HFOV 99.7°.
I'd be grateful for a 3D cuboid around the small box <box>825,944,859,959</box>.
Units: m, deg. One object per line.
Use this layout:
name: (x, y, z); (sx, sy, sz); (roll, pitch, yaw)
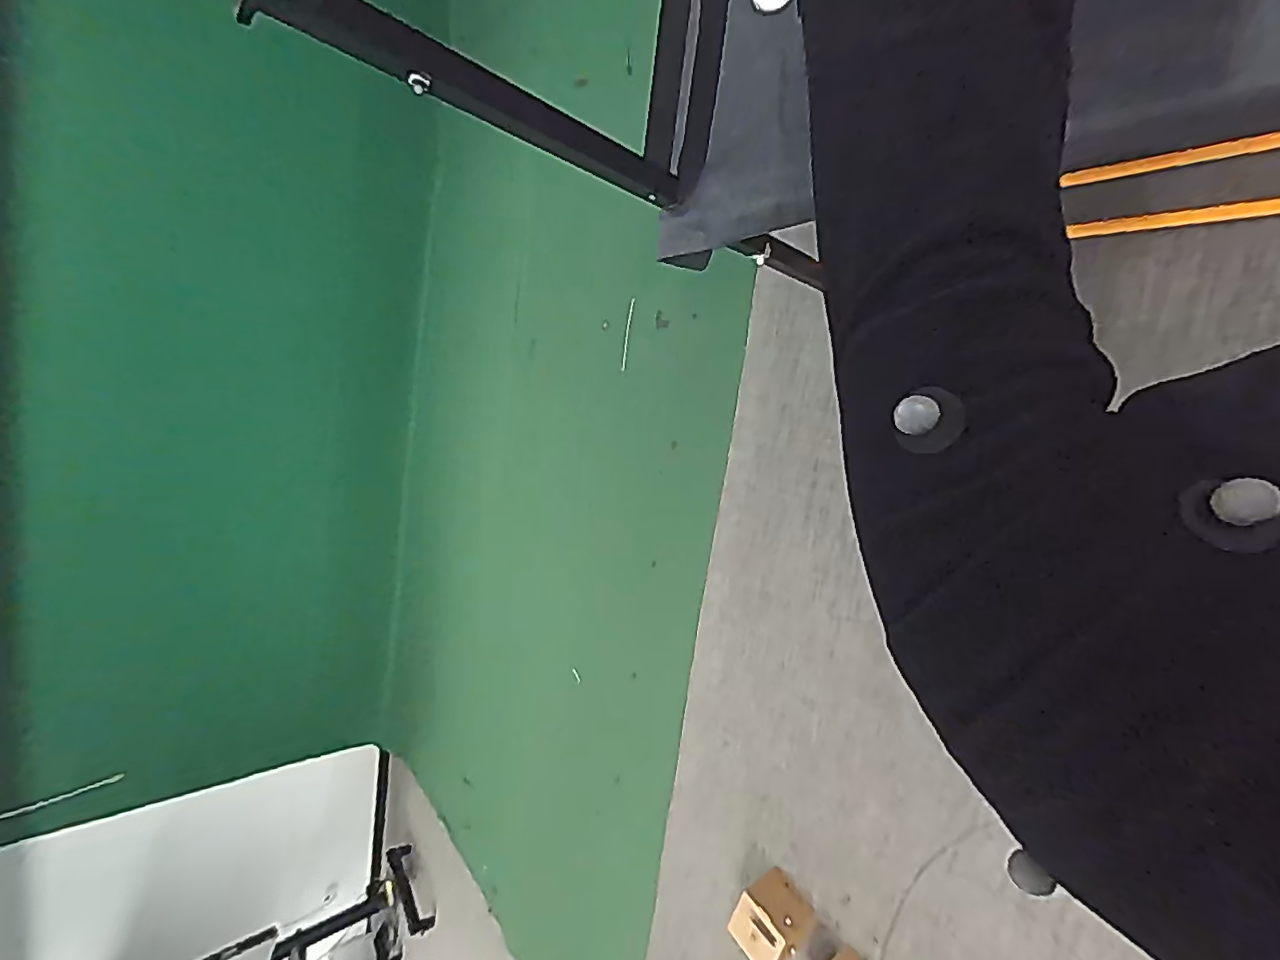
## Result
small box: (0.556, 1.448, 1.481); (0.168, 0.176, 0.179); (28, 108, 44)
